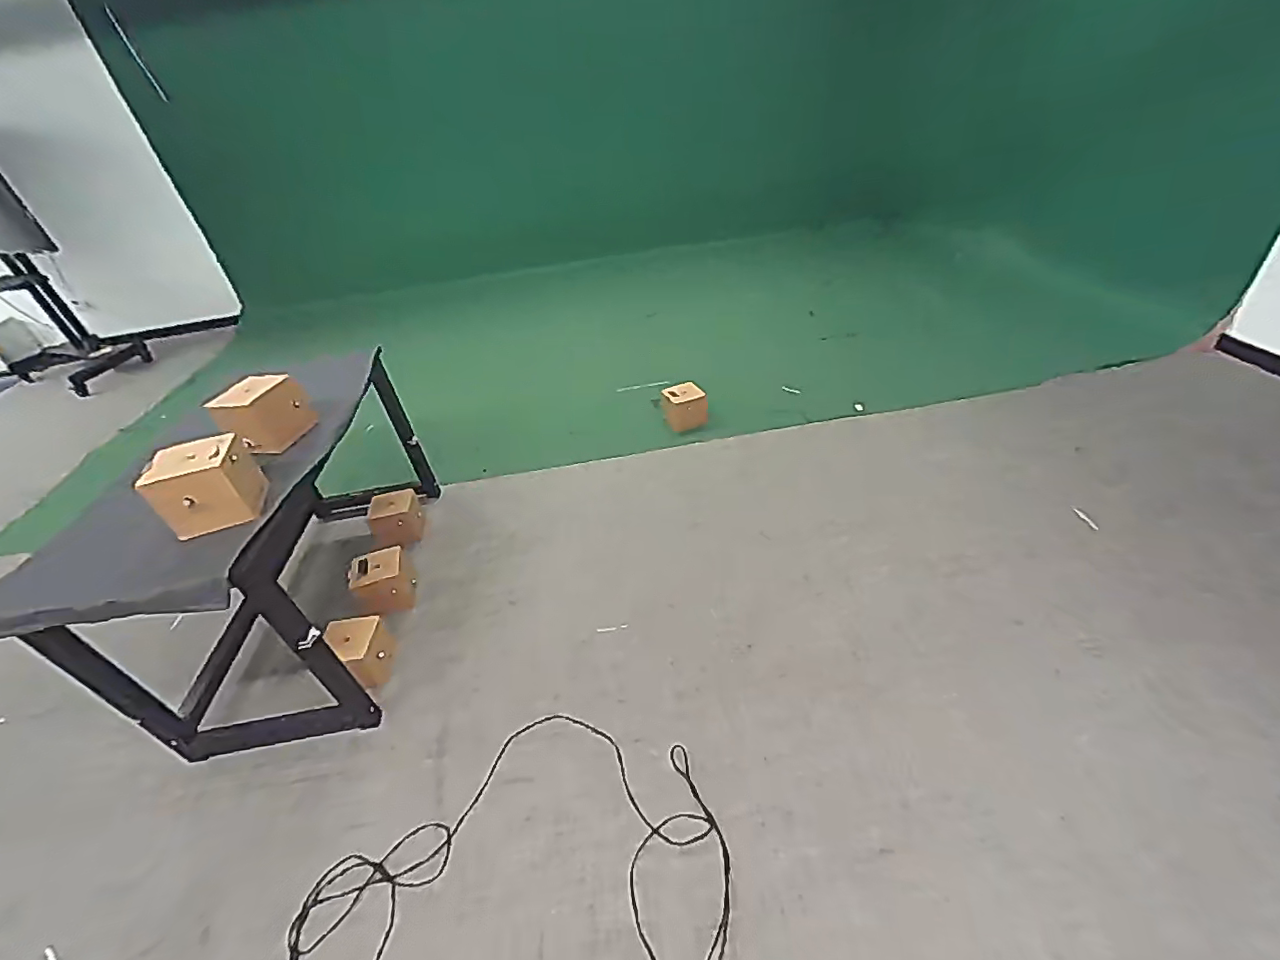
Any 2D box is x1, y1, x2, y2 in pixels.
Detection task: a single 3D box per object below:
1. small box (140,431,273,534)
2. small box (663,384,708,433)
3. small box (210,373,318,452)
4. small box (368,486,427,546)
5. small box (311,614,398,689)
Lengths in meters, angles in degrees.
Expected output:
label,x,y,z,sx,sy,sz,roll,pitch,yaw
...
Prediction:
label,x,y,z,sx,sy,sz,roll,pitch,yaw
small box,-1.048,0.008,1.326,0.179,0.176,0.168,-17,39,-11
small box,0.235,-0.362,2.739,0.179,0.176,0.168,-19,39,-14
small box,-1.096,-0.201,1.600,0.168,0.176,0.179,1,40,16
small box,-1.031,0.156,2.314,0.179,0.176,0.168,-12,38,-5
small box,-0.930,0.568,1.783,0.179,0.176,0.168,-7,38,2
